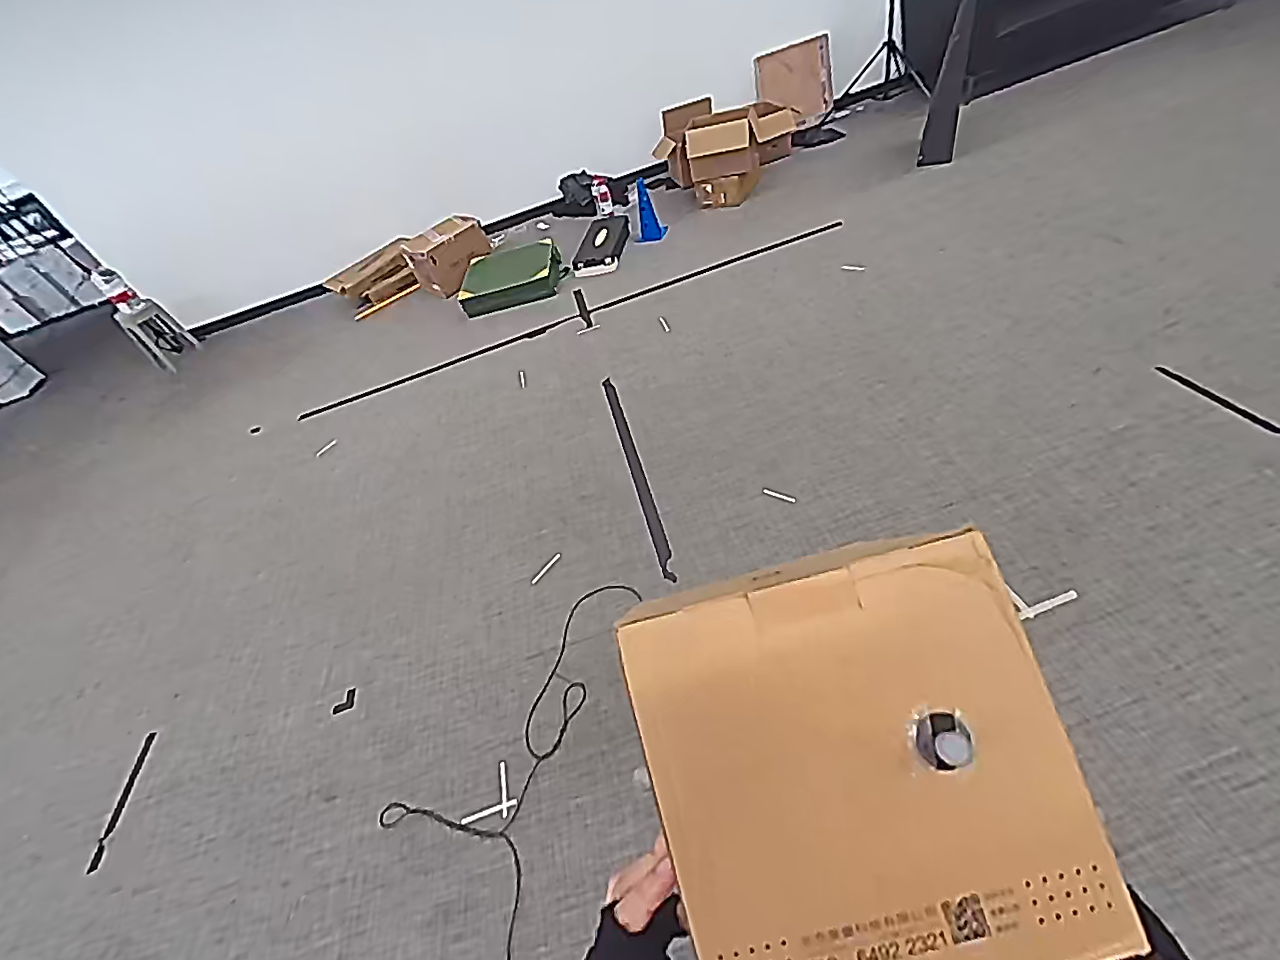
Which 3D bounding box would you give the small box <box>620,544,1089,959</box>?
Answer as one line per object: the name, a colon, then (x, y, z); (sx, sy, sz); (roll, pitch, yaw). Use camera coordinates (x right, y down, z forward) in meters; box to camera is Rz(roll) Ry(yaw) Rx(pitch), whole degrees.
small box: (0.099, 0.144, 0.315); (0.168, 0.179, 0.176); (-16, 79, 4)
